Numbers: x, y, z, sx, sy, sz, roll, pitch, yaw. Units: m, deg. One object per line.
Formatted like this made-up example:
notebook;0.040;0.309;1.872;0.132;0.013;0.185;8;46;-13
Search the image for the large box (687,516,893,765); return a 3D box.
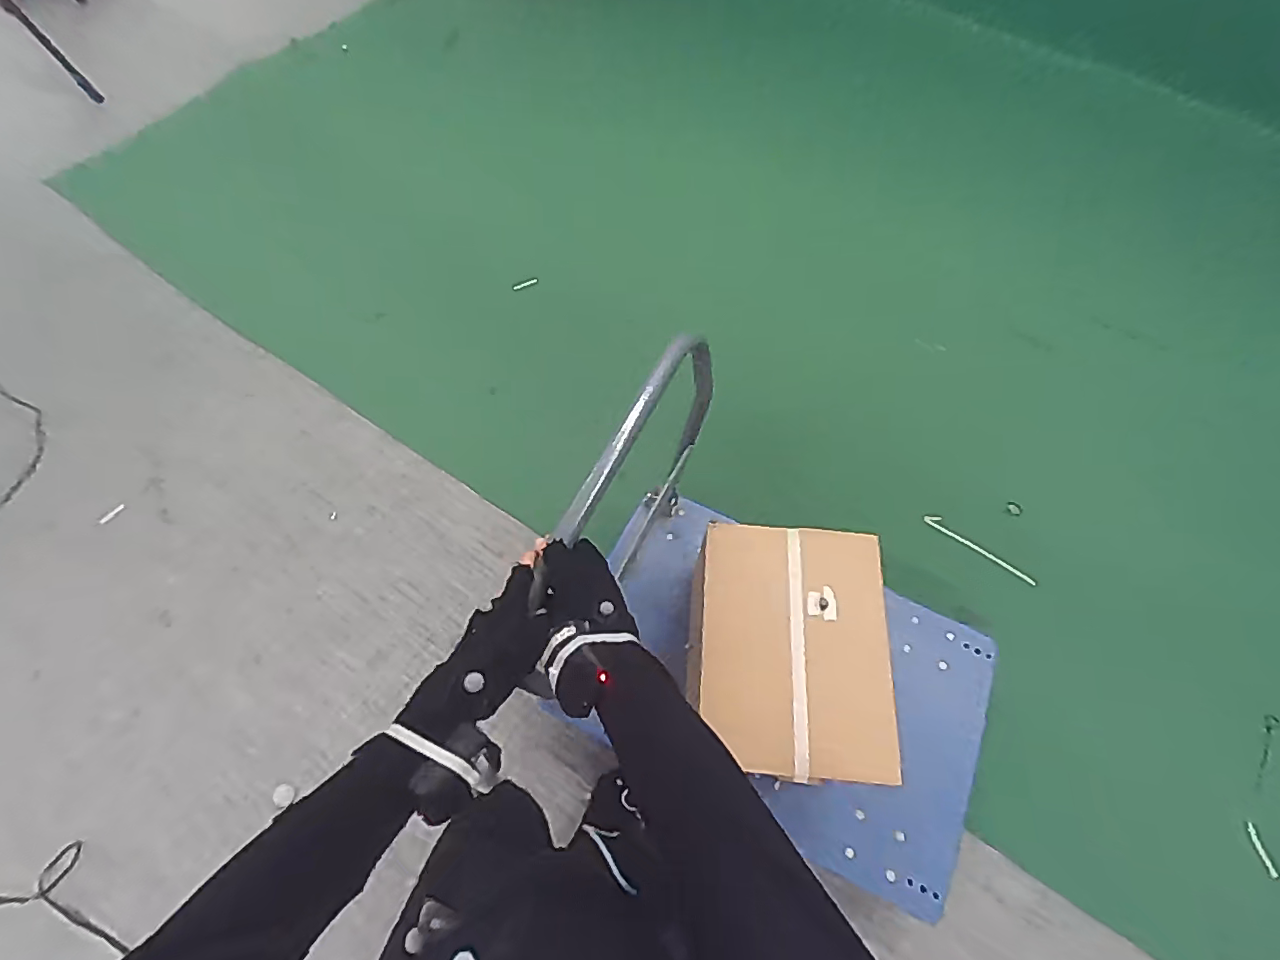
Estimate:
large box;0.256;0.319;1.057;0.320;0.320;0.408;4;65;2
